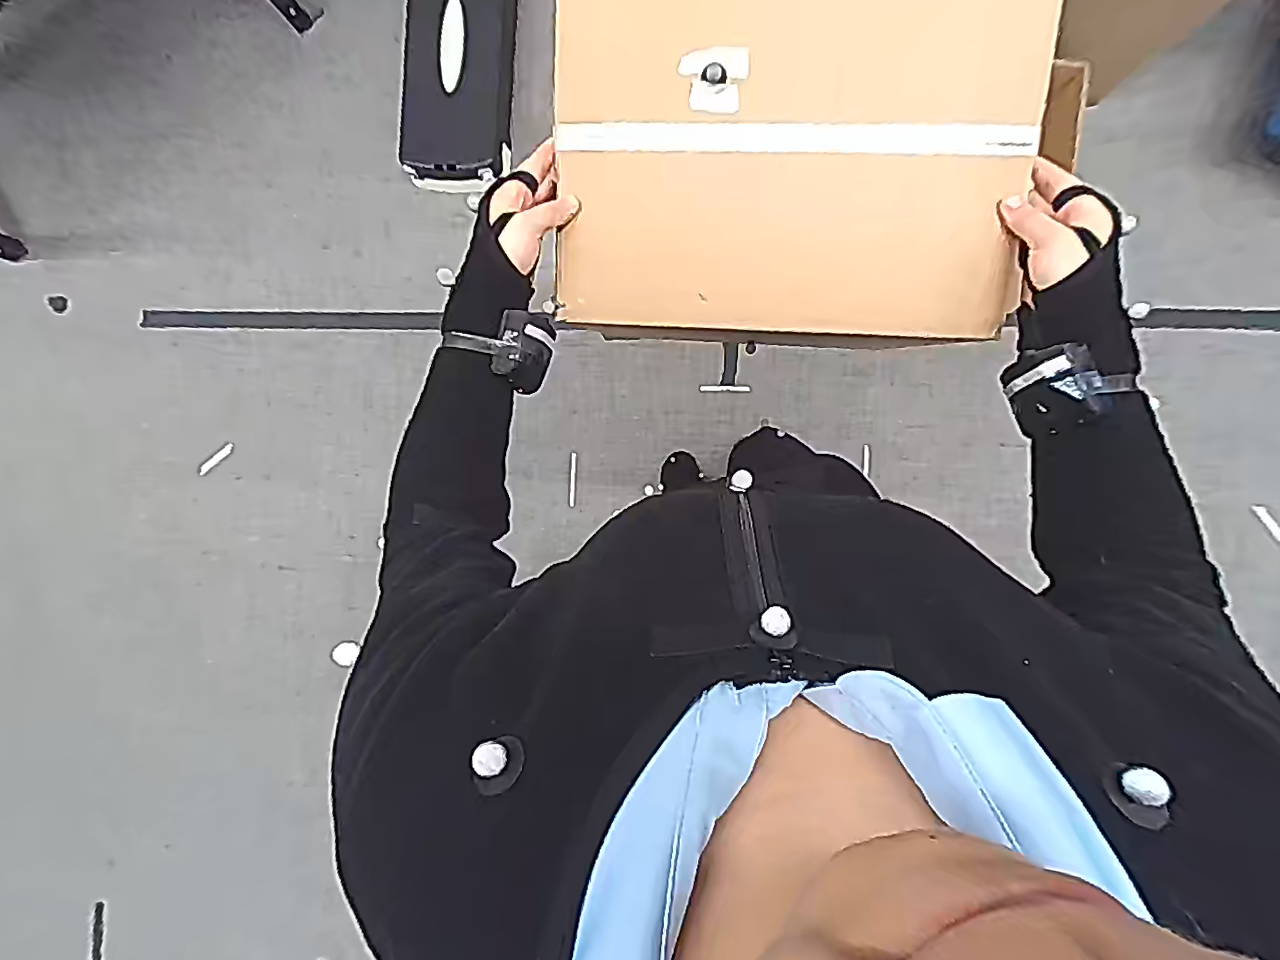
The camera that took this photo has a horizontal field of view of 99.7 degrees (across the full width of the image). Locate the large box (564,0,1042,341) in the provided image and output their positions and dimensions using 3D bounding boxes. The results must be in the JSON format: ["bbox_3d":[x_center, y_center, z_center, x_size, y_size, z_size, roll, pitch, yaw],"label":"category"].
[{"bbox_3d":[0.144,-0.326,0.624,0.408,0.320,0.320,3,101,5],"label":"large box"}]
